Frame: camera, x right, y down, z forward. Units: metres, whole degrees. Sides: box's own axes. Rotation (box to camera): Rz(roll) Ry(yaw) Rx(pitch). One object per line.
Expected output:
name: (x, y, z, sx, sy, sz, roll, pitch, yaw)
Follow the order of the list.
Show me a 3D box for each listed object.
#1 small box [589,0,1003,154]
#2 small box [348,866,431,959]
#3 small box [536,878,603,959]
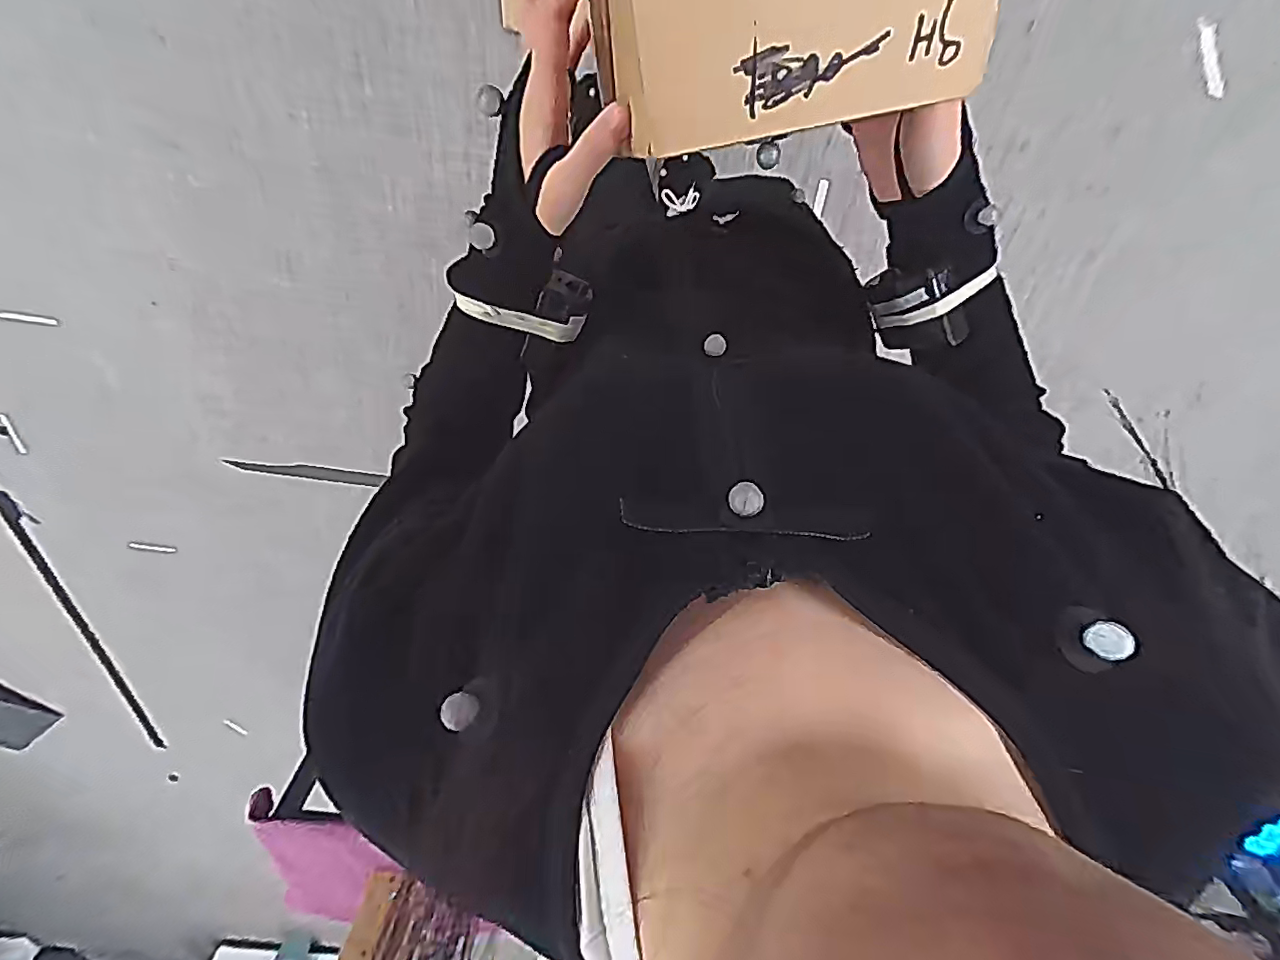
small box: (0.058, -0.278, 0.273, 0.168, 0.176, 0.179, -12, 122, -2)
small box: (-0.706, 1.239, 1.541, 0.168, 0.176, 0.179, 11, 123, -6)
small box: (-0.200, 1.282, 1.549, 0.168, 0.176, 0.179, 9, 123, -3)
